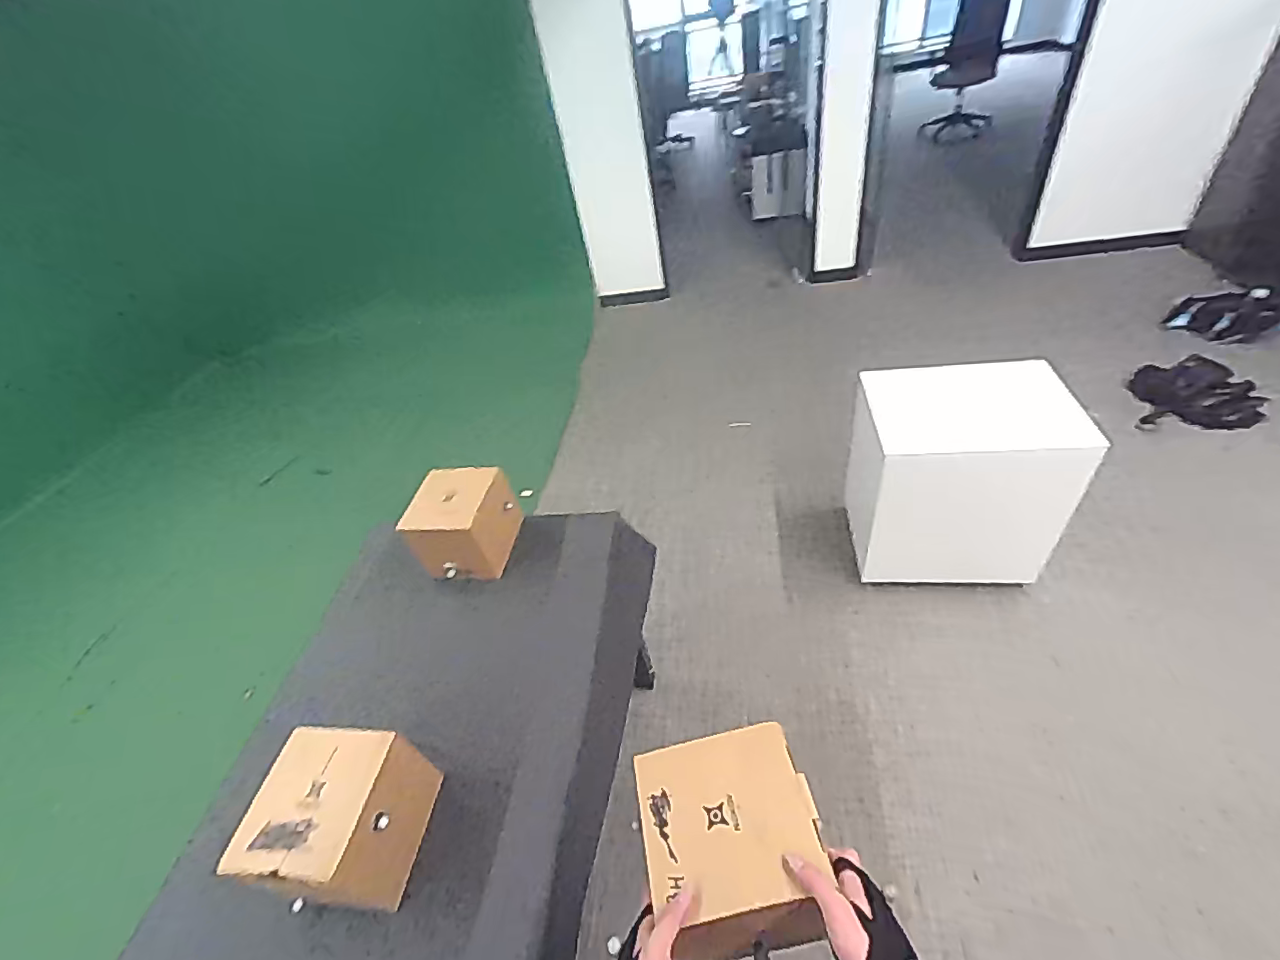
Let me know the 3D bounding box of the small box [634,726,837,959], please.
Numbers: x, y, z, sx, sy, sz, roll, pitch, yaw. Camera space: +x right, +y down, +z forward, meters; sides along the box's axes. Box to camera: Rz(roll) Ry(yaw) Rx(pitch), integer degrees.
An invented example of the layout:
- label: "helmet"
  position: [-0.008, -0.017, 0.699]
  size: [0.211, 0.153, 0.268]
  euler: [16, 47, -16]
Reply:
- label: "small box"
  position: [0.100, 0.407, 0.599]
  size: [0.179, 0.176, 0.168]
  euler: [-13, 35, 1]

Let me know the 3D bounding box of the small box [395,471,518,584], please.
- label: "small box"
  position: [-0.377, 0.099, 1.154]
  size: [0.168, 0.176, 0.179]
  euler: [-2, 44, 13]

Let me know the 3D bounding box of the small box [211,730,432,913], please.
- label: "small box"
  position: [-0.419, 0.473, 0.751]
  size: [0.168, 0.176, 0.179]
  euler: [-2, 41, 11]
